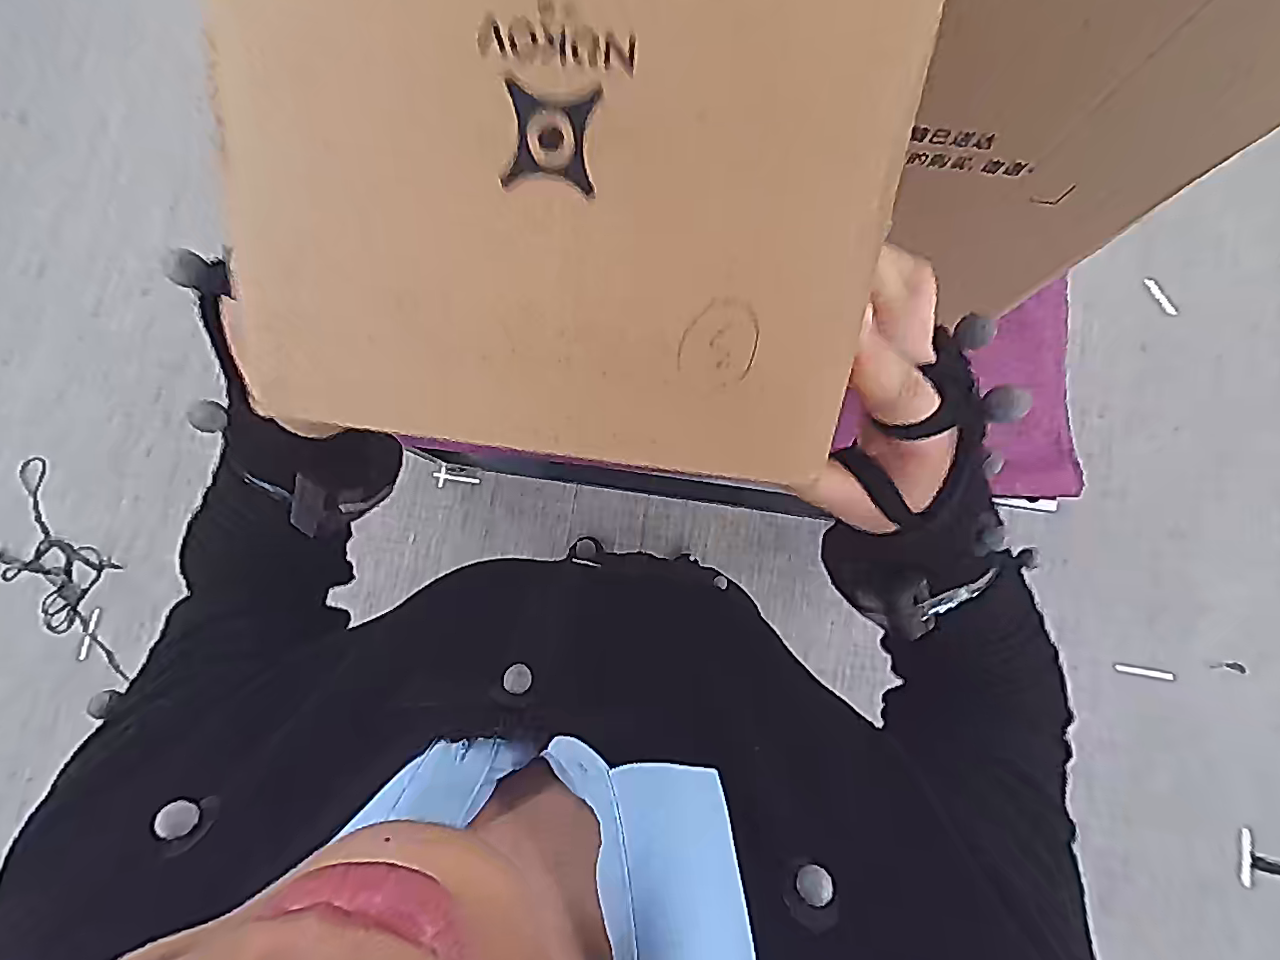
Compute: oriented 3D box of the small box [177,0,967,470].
[{"bbox_3d":[-0.013,-0.119,0.191,0.168,0.176,0.179,7,109,-1],"label":"small box"}]
